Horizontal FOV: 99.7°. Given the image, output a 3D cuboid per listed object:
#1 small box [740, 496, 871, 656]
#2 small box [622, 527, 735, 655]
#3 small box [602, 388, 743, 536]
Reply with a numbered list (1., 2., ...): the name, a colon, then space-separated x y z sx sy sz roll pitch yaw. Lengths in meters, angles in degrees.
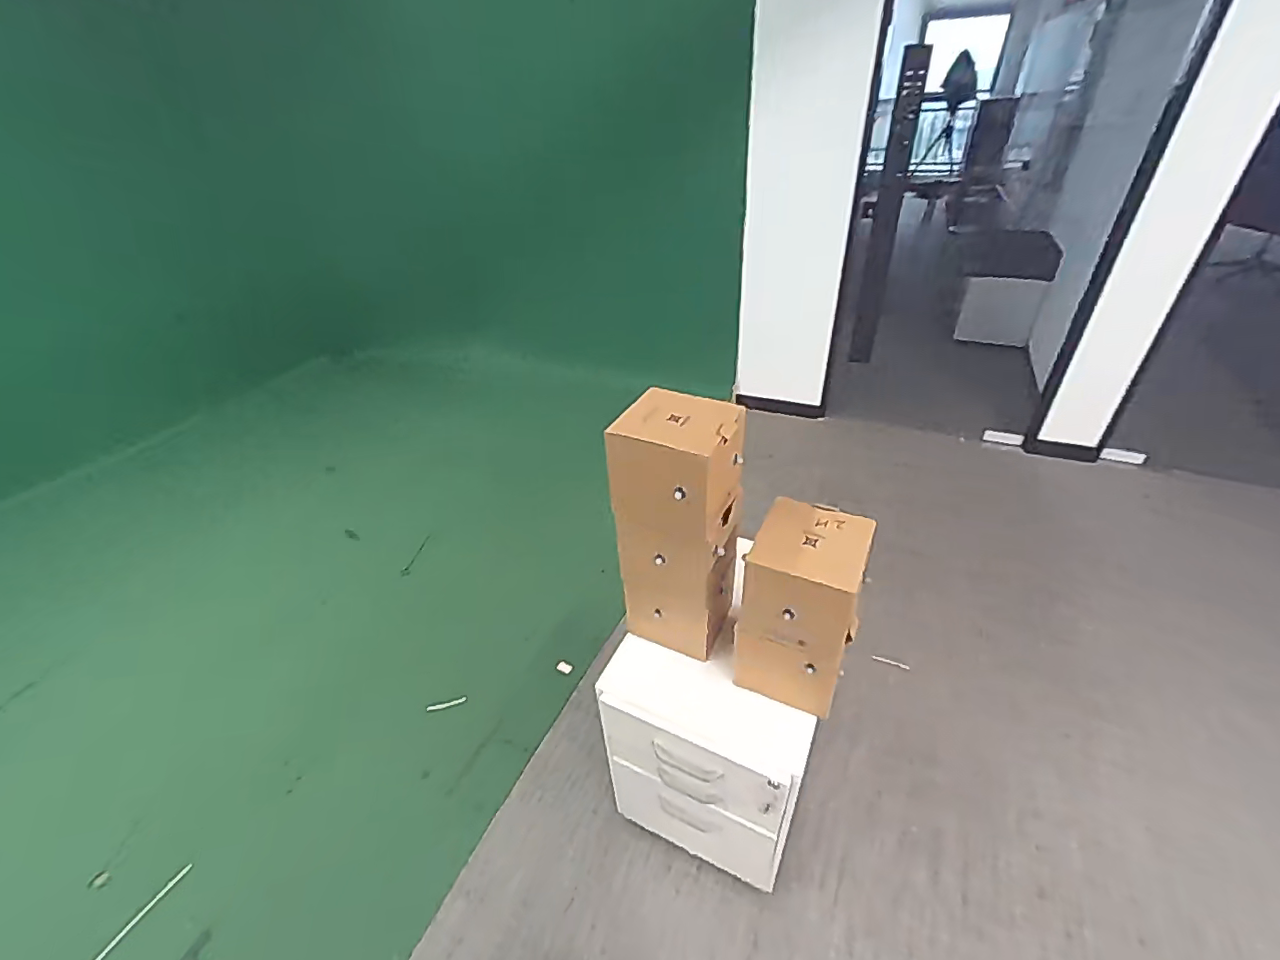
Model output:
1. small box: 0.271 0.159 0.901 0.168 0.176 0.179 16 40 23
2. small box: 0.079 0.226 1.102 0.179 0.176 0.168 16 41 21
3. small box: 0.057 -0.030 0.897 0.179 0.176 0.168 15 40 23
